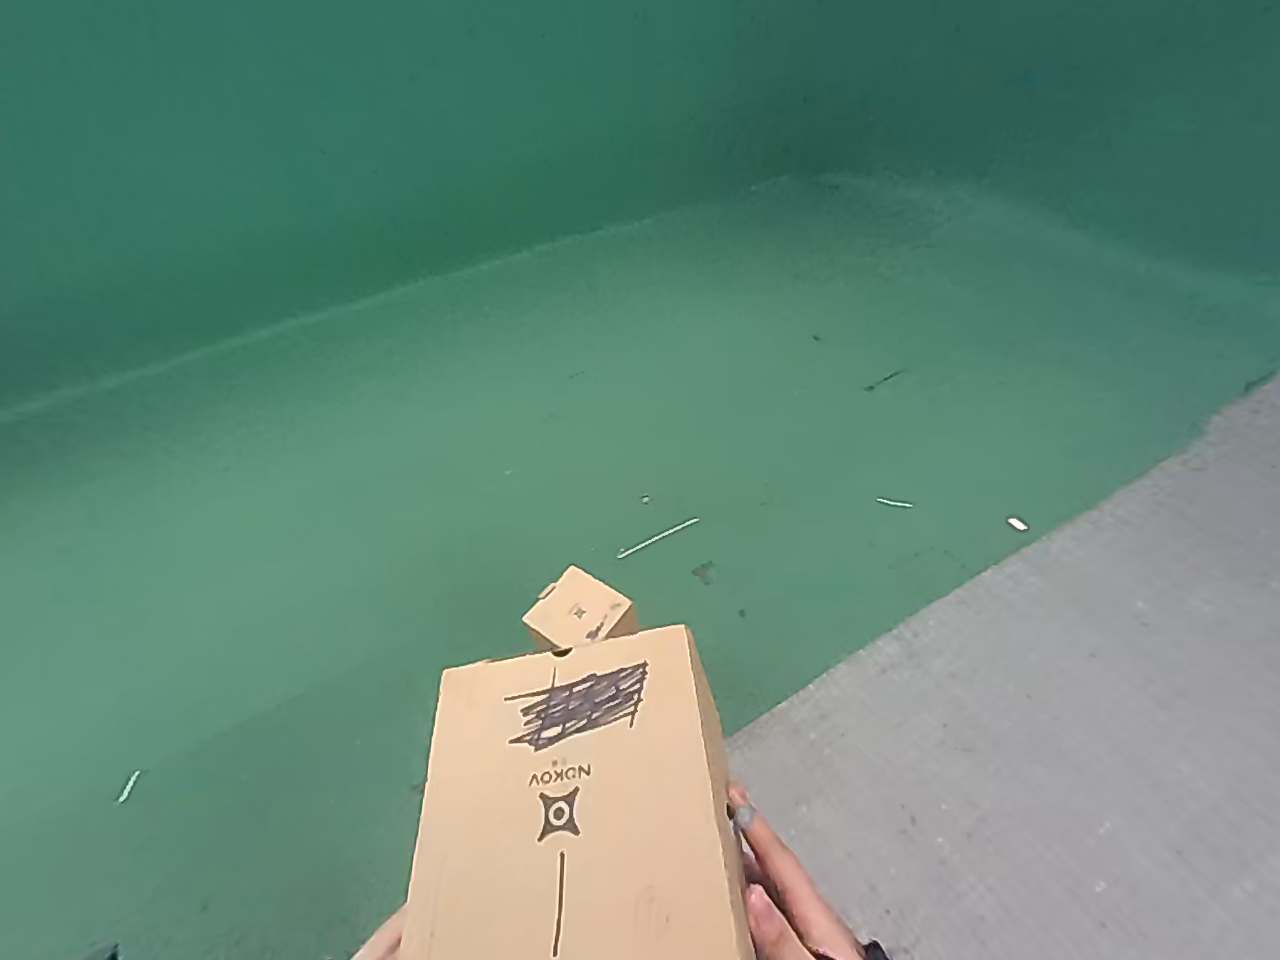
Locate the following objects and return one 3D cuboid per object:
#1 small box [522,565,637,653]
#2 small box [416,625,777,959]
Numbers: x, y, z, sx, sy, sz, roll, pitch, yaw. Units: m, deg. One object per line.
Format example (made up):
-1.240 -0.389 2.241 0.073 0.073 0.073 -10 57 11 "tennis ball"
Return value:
-0.125 0.325 1.184 0.179 0.176 0.168 25 55 27 "small box"
-0.013 0.222 0.345 0.168 0.176 0.179 -12 46 6 "small box"
